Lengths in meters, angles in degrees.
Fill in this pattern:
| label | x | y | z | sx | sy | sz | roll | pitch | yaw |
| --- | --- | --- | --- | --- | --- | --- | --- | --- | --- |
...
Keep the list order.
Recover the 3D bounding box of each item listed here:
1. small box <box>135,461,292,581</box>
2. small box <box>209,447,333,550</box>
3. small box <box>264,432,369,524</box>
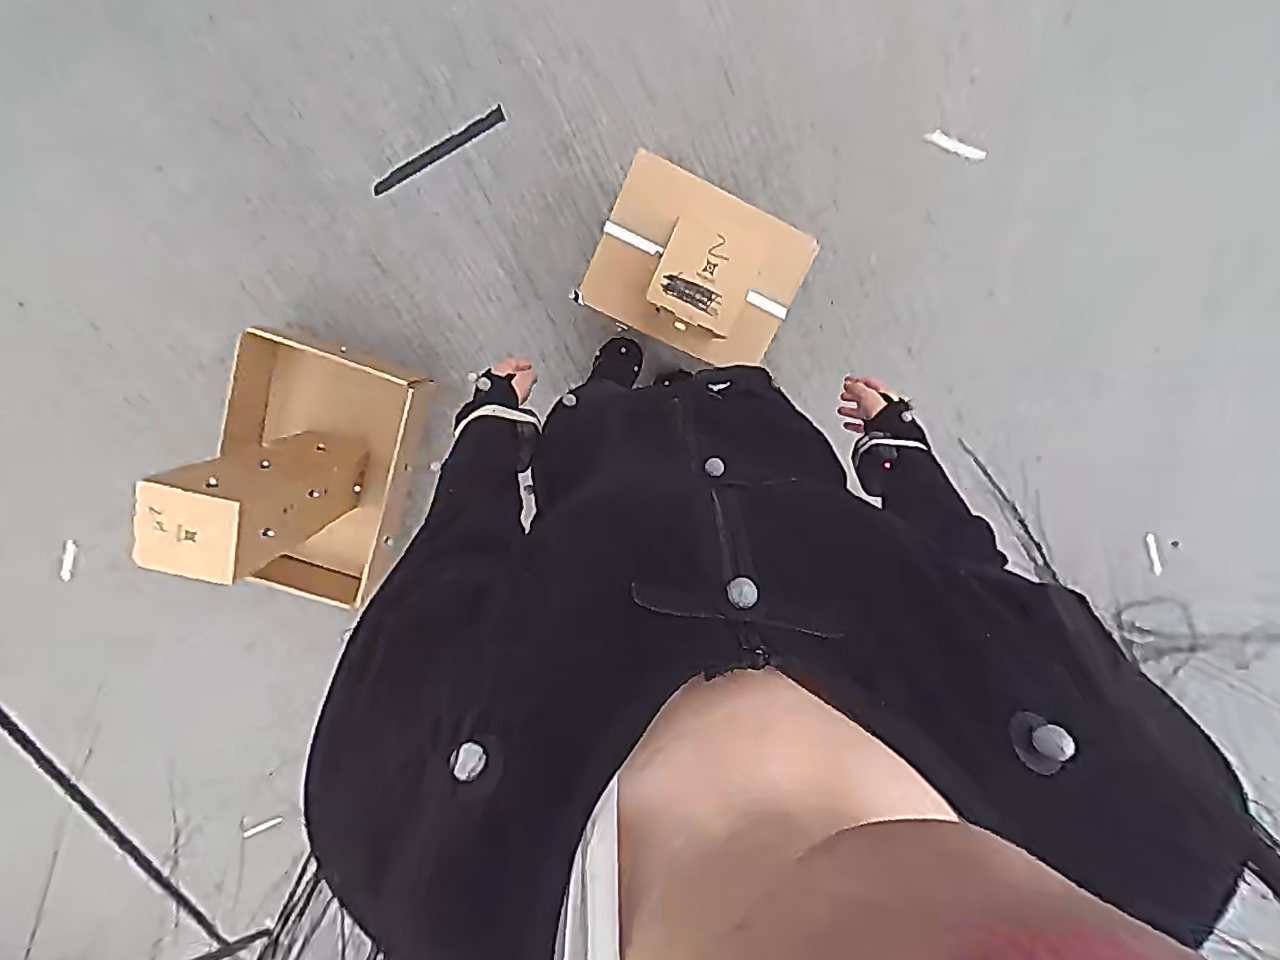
| label | x | y | z | sx | sy | sz | roll | pitch | yaw |
| --- | --- | --- | --- | --- | --- | --- | --- | --- | --- |
| small box | -0.810 | 0.071 | 1.042 | 0.179 | 0.176 | 0.168 | 14 | 102 | -6 |
| small box | -0.818 | 0.034 | 1.203 | 0.179 | 0.176 | 0.168 | 15 | 103 | -5 |
| small box | -0.820 | -0.012 | 1.359 | 0.179 | 0.176 | 0.168 | 19 | 104 | -7 |
